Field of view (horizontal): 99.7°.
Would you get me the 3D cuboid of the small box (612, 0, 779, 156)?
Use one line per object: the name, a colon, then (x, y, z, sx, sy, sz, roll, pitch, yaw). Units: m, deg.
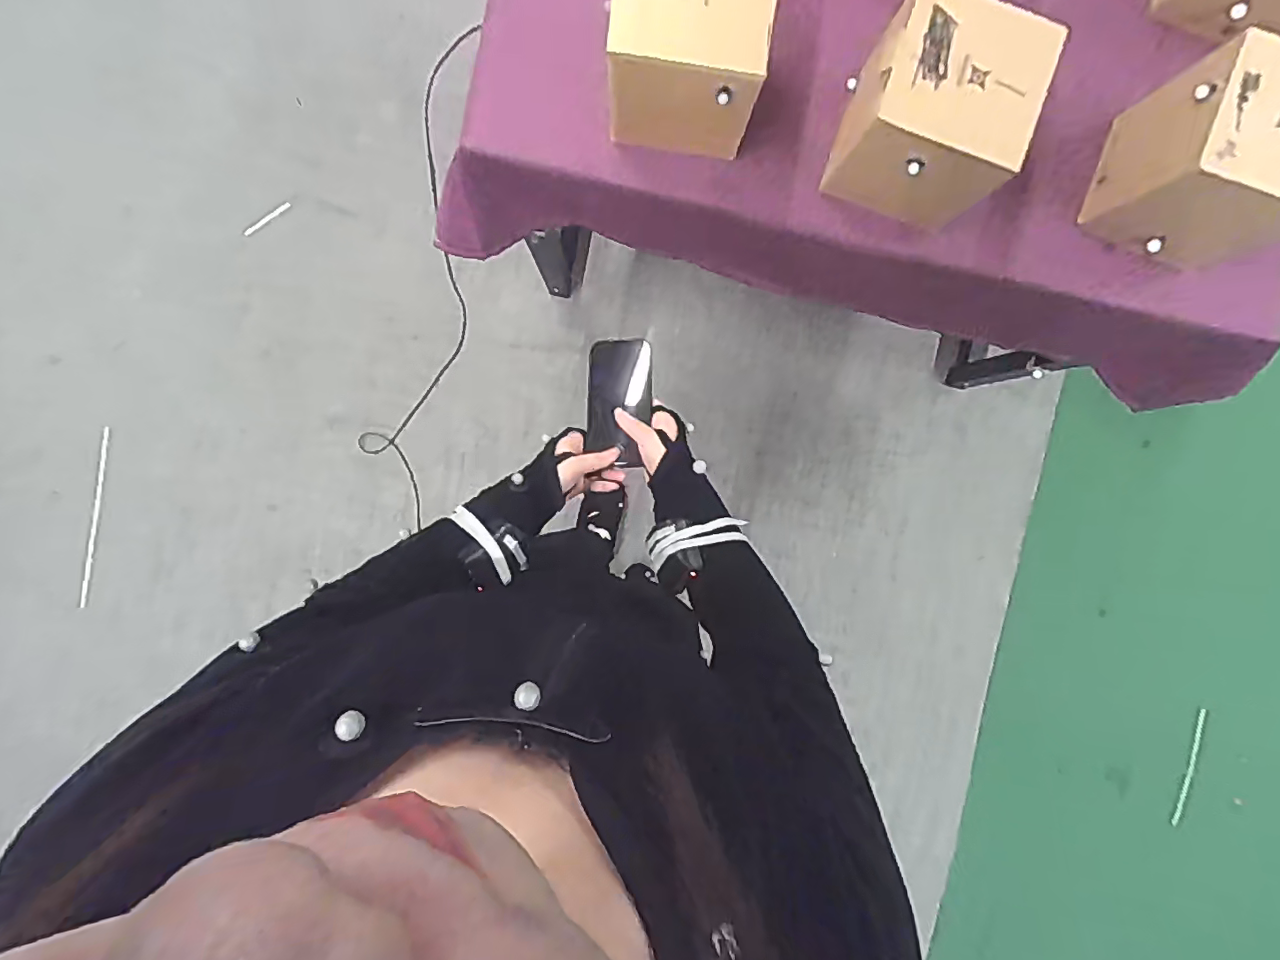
small box: (0.060, -0.529, 0.660, 0.179, 0.176, 0.168, 7, 92, -4)

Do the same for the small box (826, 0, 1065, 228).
small box: (0.362, -0.446, 0.678, 0.179, 0.176, 0.168, 18, 92, -4)

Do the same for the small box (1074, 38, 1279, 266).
small box: (0.729, -0.399, 0.697, 0.179, 0.176, 0.168, 20, 92, -4)
